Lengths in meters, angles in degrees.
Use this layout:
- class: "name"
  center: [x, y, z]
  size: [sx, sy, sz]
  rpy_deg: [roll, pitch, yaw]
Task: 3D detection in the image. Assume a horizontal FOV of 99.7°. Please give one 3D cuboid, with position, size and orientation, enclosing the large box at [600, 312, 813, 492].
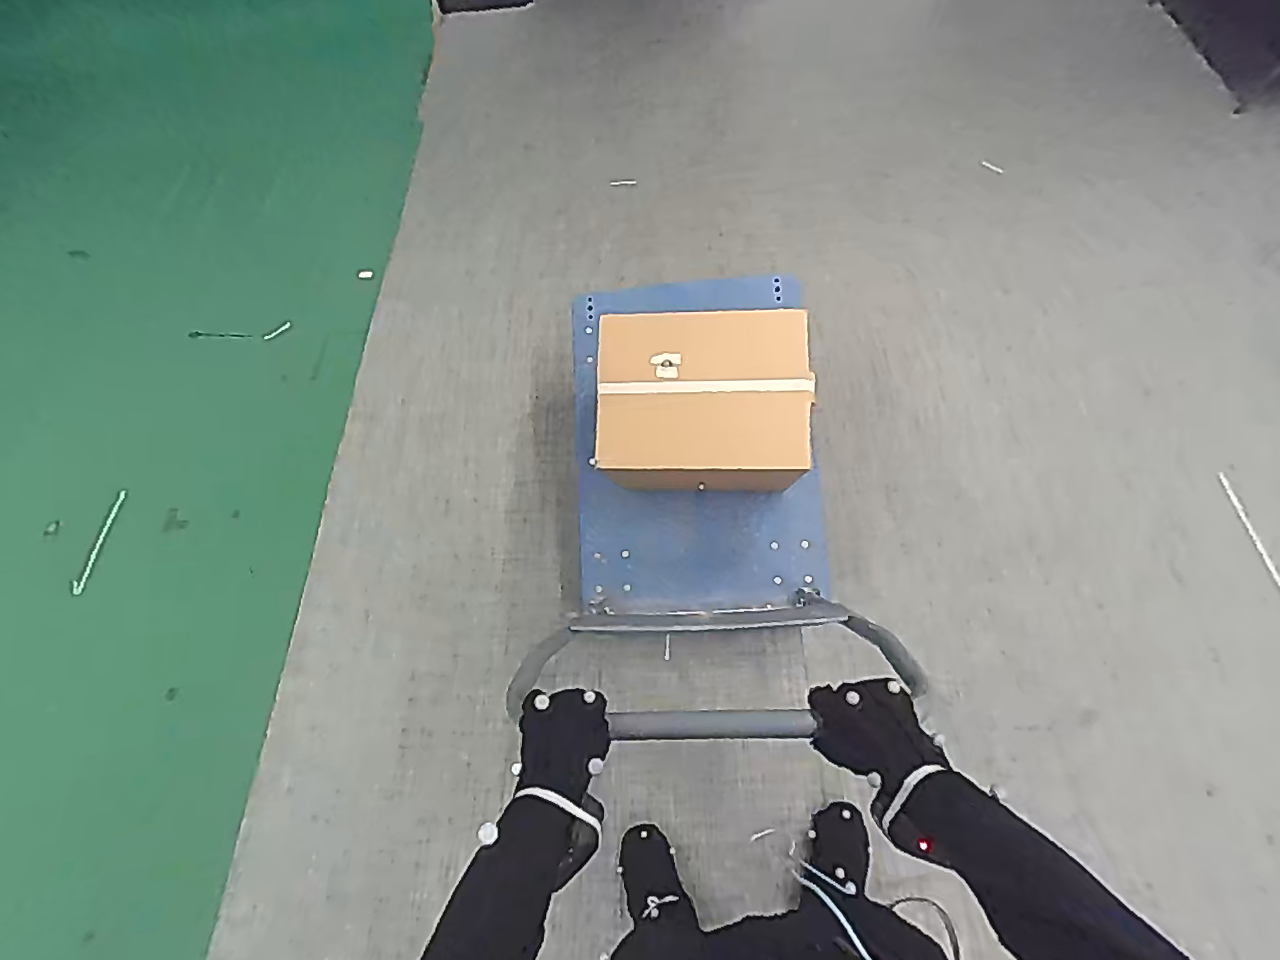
- class: "large box"
  center: [0.141, -0.143, 1.176]
  size: [0.408, 0.320, 0.320]
  rpy_deg: [-1, 82, 8]
